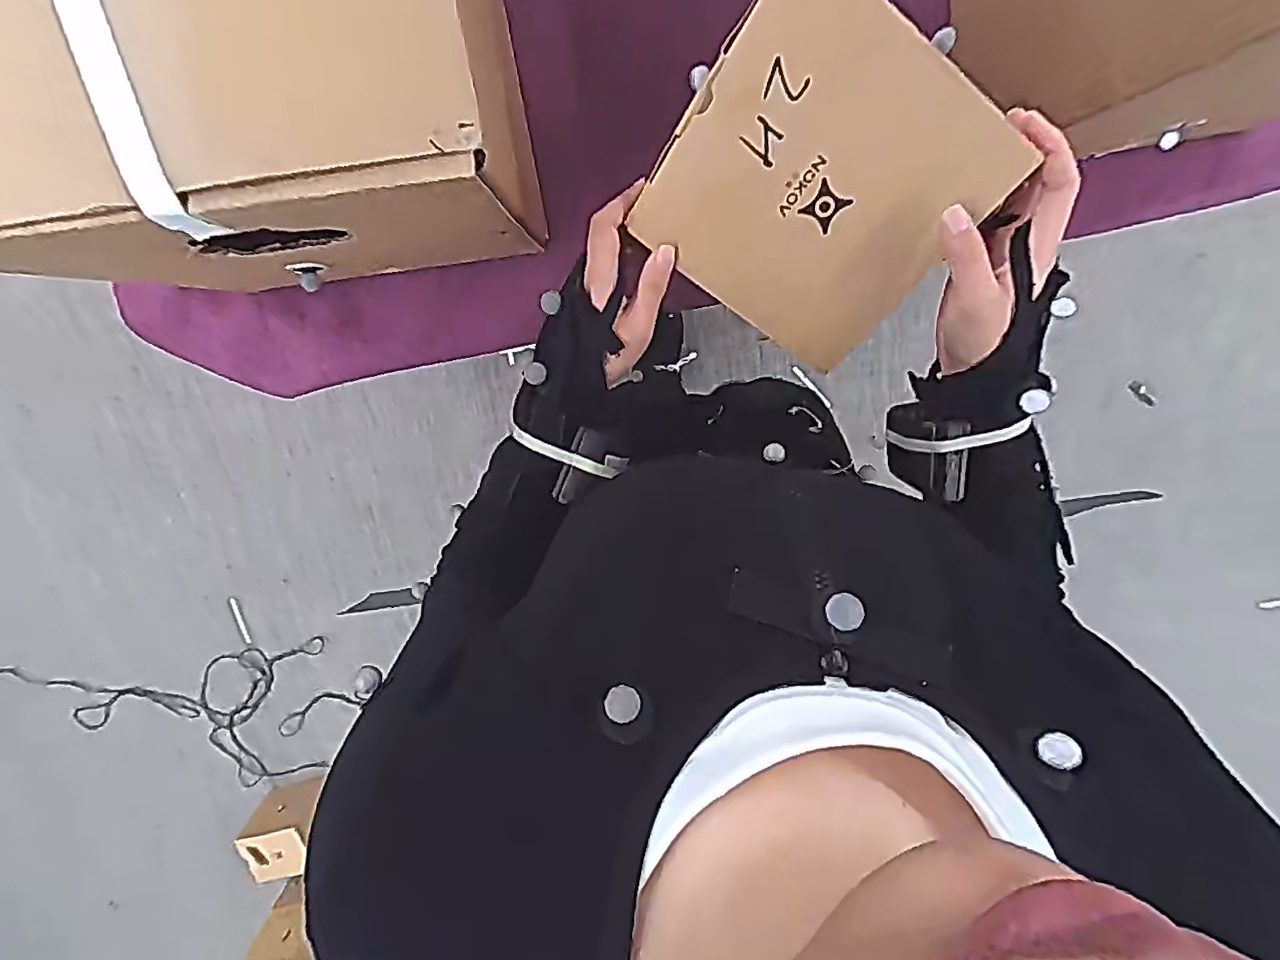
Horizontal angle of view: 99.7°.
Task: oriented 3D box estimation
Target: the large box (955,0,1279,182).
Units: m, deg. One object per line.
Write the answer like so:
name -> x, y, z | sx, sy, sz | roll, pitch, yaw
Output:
large box -> 0.430, -0.466, 0.336 | 0.320, 0.320, 0.408 | -9, 105, 0

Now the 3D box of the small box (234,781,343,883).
small box -> -1.005, 1.011, 1.562 | 0.179, 0.176, 0.168 | -13, 108, 1

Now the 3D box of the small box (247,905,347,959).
small box -> -0.951, 1.312, 1.487 | 0.168, 0.176, 0.179 | -16, 107, 3
